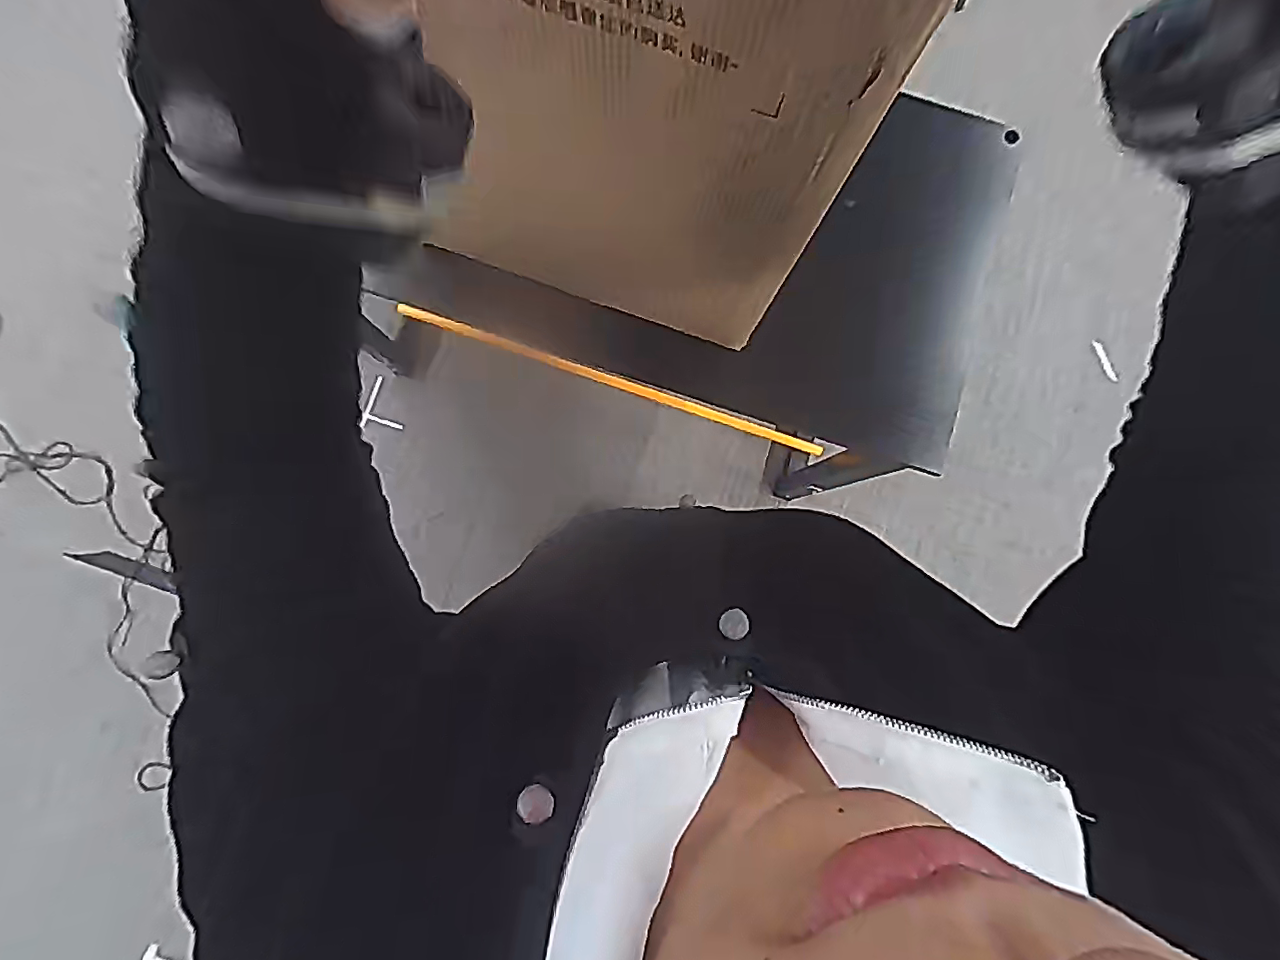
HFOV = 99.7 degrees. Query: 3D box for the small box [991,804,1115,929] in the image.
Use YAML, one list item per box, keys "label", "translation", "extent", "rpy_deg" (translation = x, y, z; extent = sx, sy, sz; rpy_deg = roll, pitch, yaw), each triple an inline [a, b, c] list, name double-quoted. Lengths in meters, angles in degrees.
- label: "small box"
  translation: [1.040, 0.969, 1.375]
  extent: [0.168, 0.176, 0.179]
  rpy_deg: [22, 84, 1]
